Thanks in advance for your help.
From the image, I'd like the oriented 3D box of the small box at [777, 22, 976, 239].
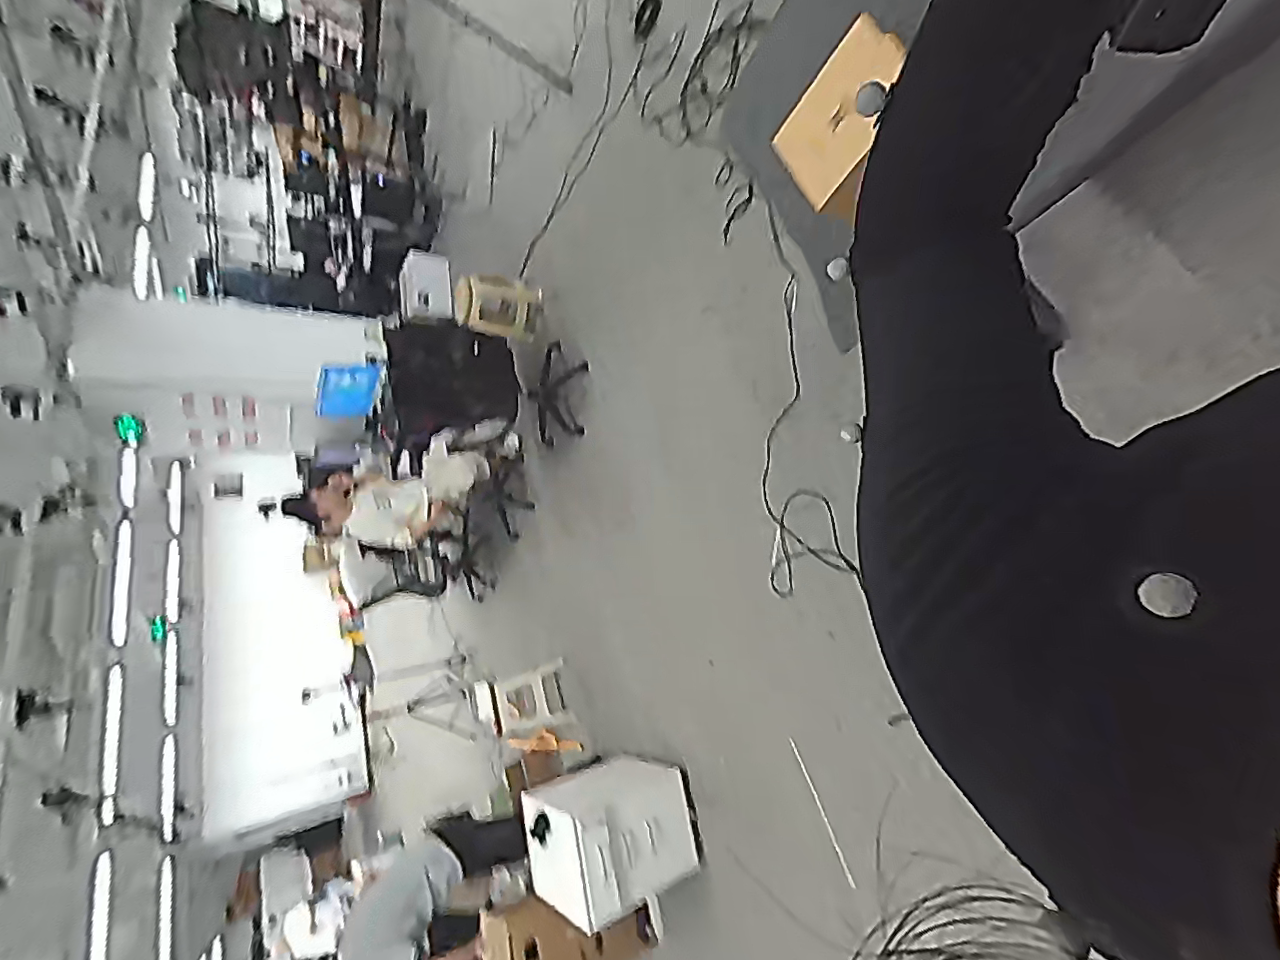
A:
[{"bbox_3d":[0.338,-0.482,0.771,0.179,0.176,0.168,-48,52,46],"label":"small box"}]
